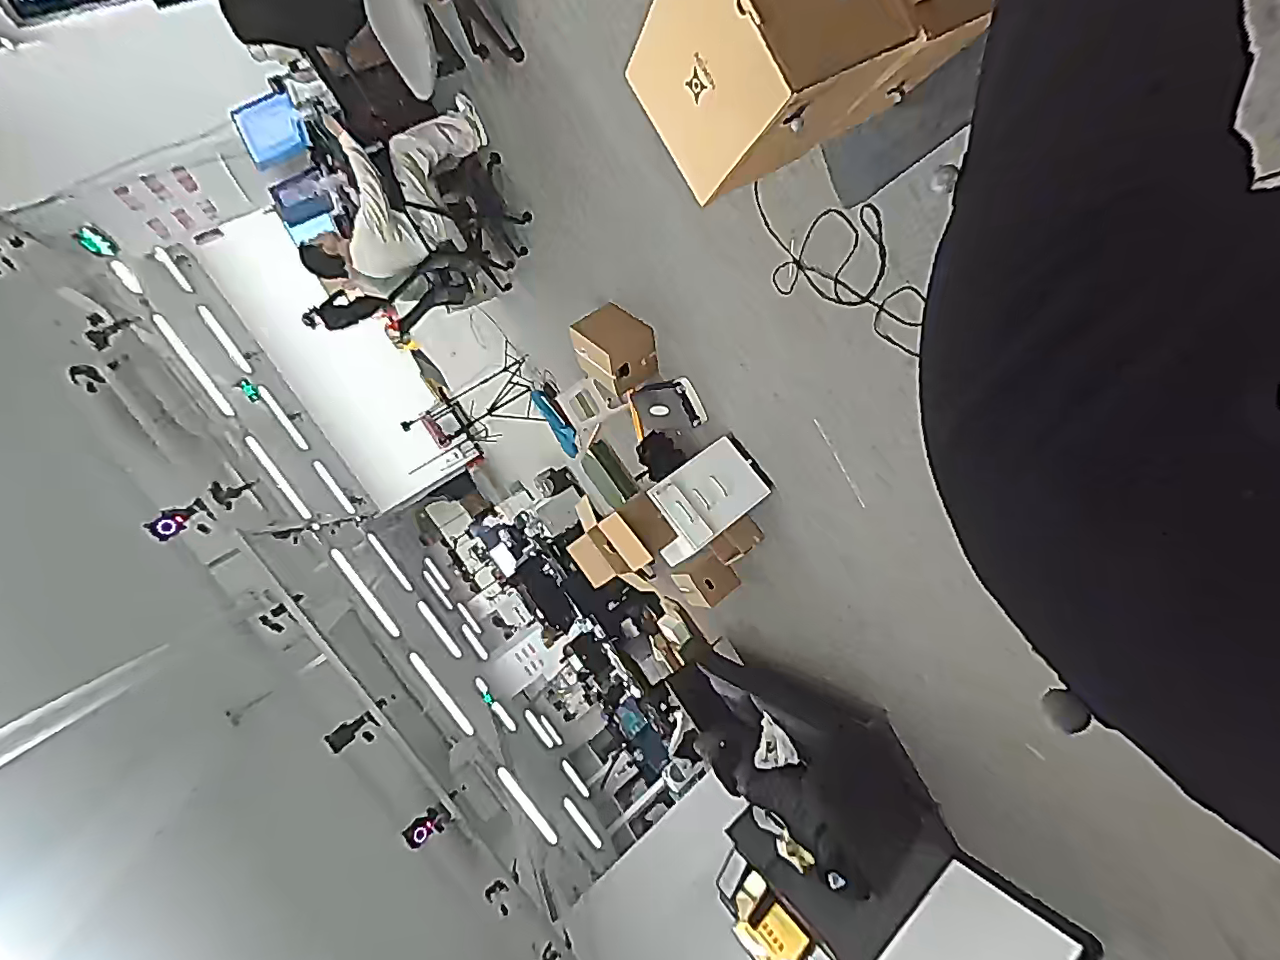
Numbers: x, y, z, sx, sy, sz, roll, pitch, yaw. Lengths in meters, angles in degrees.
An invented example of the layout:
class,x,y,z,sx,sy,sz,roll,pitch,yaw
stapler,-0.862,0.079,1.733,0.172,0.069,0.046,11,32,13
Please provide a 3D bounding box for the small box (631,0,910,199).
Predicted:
class,x,y,z,sx,sy,sz,roll,pitch,yaw
small box,0.123,-0.430,0.543,0.168,0.176,0.179,57,161,-7

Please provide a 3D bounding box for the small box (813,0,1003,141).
class,x,y,z,sx,sy,sz,roll,pitch,yaw
small box,0.255,-0.518,0.580,0.168,0.176,0.179,58,162,-11
